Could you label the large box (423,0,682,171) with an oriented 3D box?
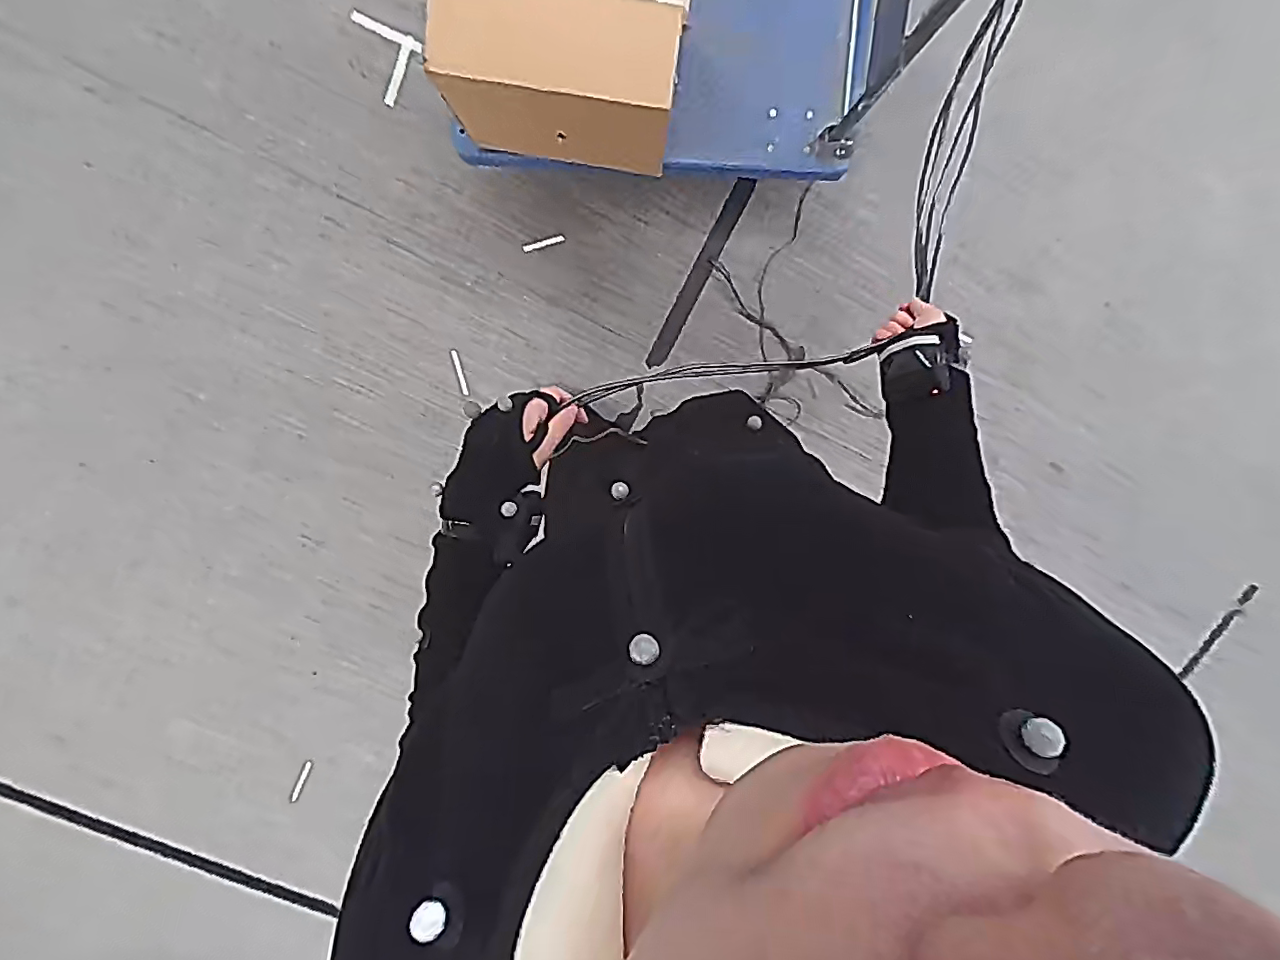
[{"bbox_3d":[-0.133,-0.802,0.988,0.408,0.320,0.320,7,100,-2],"label":"large box"}]
